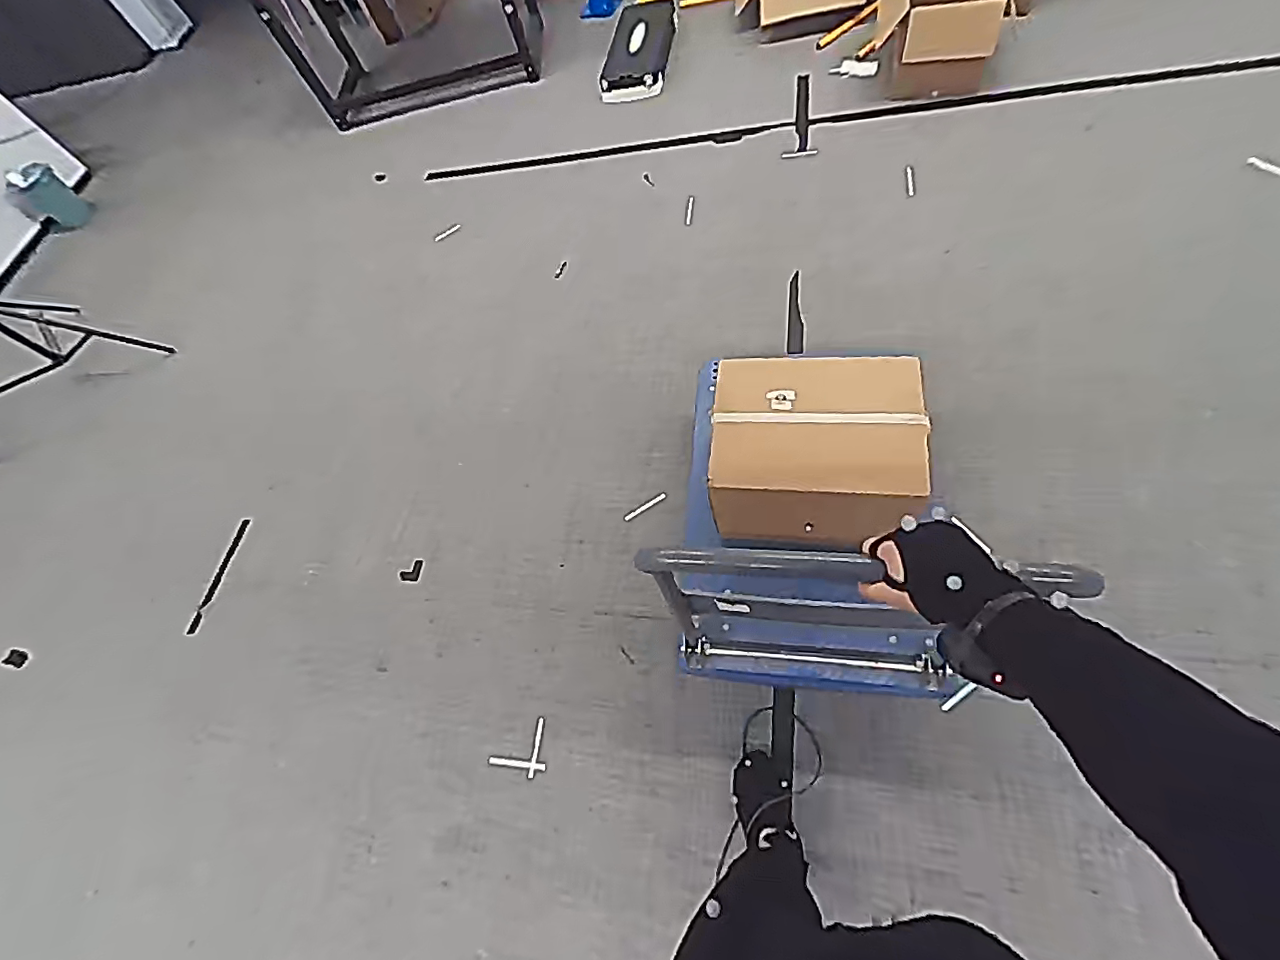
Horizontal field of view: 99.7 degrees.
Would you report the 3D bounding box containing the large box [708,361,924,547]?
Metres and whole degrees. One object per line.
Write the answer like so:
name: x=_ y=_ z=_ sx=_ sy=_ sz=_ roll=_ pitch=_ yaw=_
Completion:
large box: x=0.383 y=-0.047 z=1.227 sx=0.408 sy=0.320 sz=0.320 roll=2 pitch=64 yaw=15
